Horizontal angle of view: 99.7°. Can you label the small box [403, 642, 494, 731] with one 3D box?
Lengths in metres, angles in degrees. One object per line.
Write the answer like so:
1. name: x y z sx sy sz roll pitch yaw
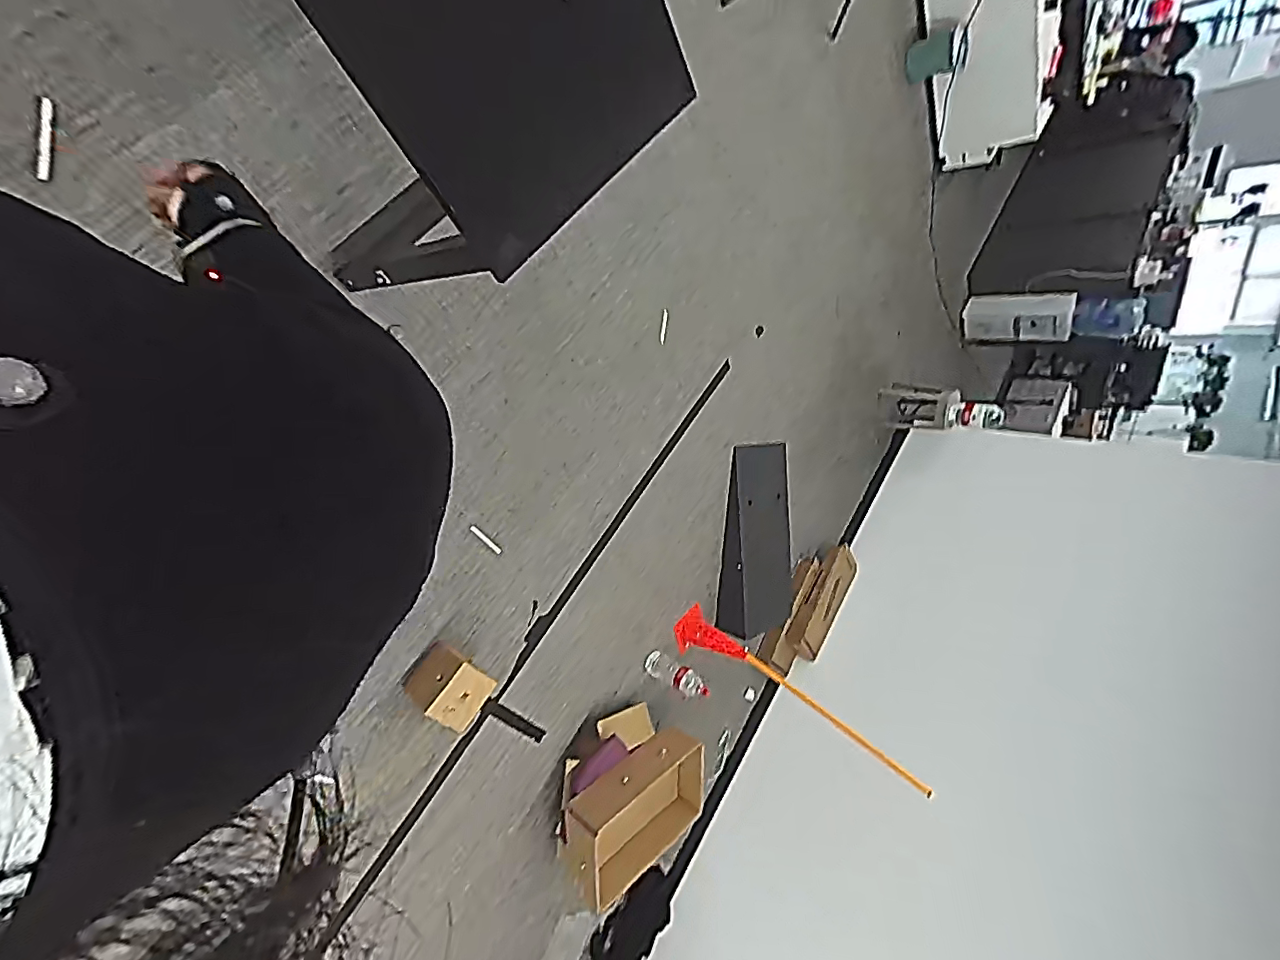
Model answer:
1. small box: -0.600 0.635 1.683 0.179 0.176 0.168 -54 133 -21
